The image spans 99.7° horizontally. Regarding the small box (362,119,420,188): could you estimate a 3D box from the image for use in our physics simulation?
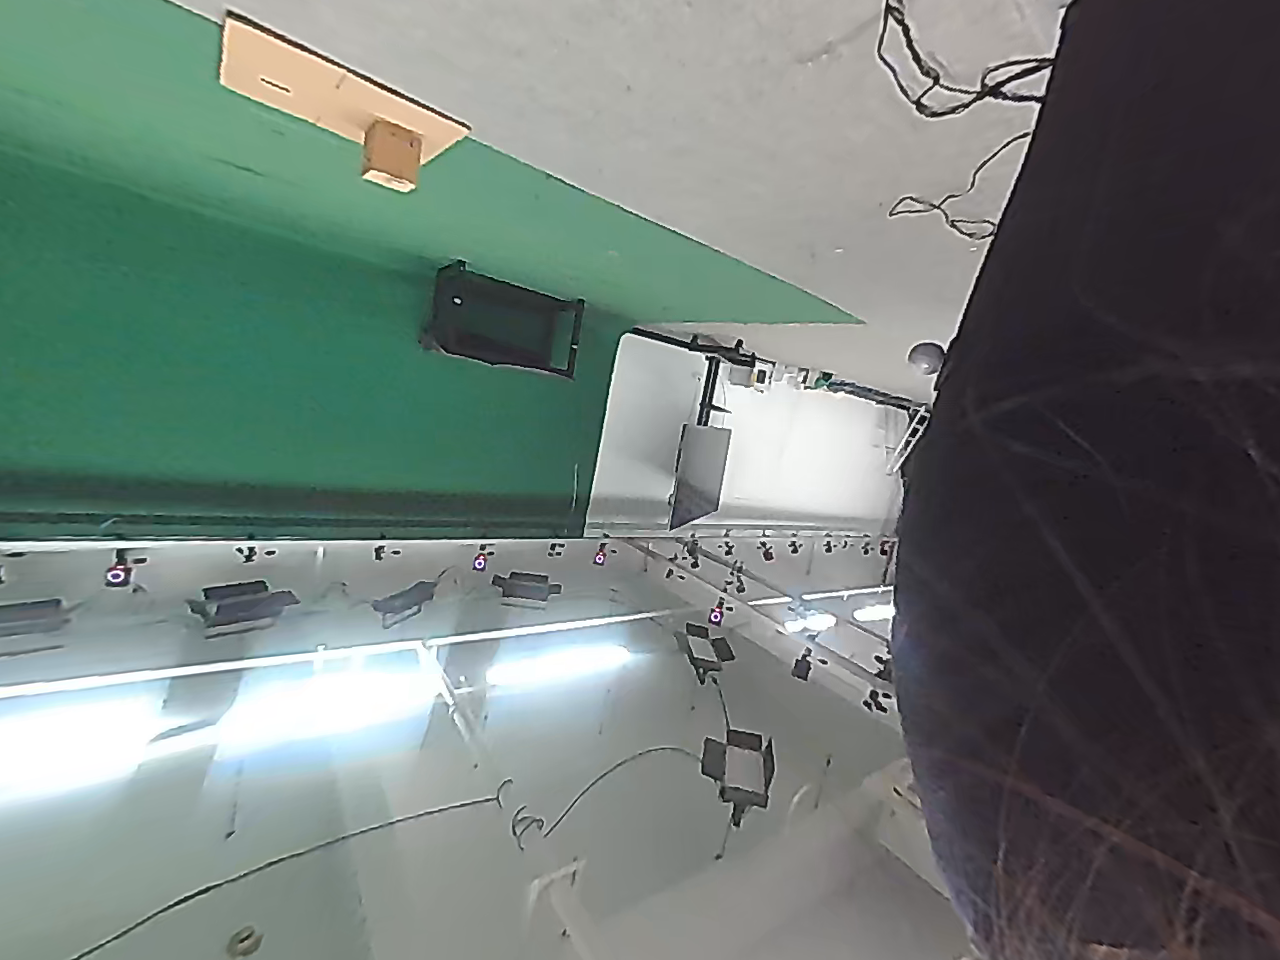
[{"bbox_3d":[-0.961,-1.260,2.086,0.168,0.176,0.179,3,-167,-41],"label":"small box"}]
